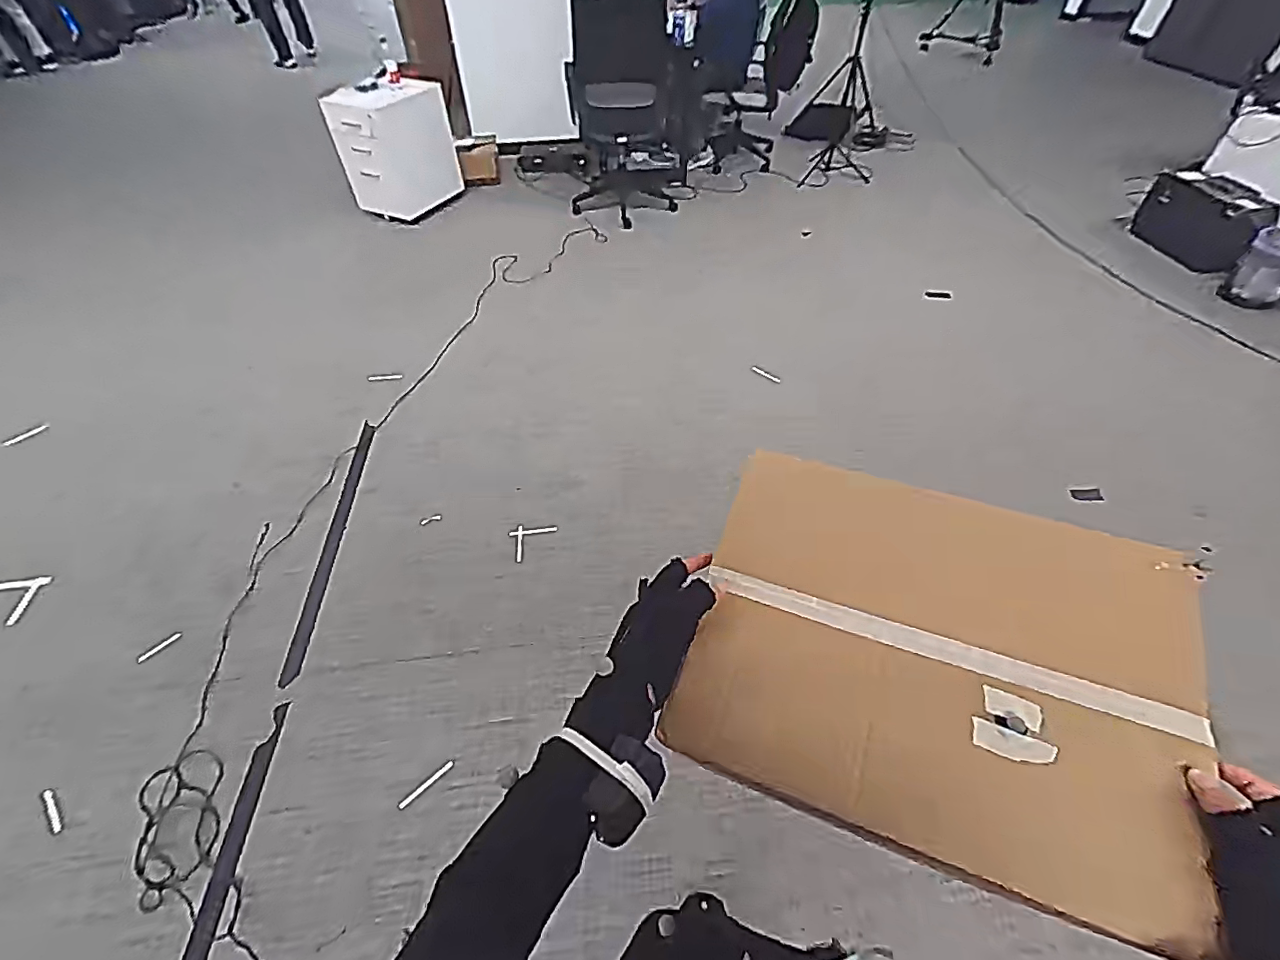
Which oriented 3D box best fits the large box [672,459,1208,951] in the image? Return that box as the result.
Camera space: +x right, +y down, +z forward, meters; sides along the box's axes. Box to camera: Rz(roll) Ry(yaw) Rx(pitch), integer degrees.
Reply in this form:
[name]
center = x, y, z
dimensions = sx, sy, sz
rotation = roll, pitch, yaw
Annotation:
[large box]
center = 0.278, 0.222, 0.617
dimensions = 0.408, 0.320, 0.320
rotation = 16, 65, 16
